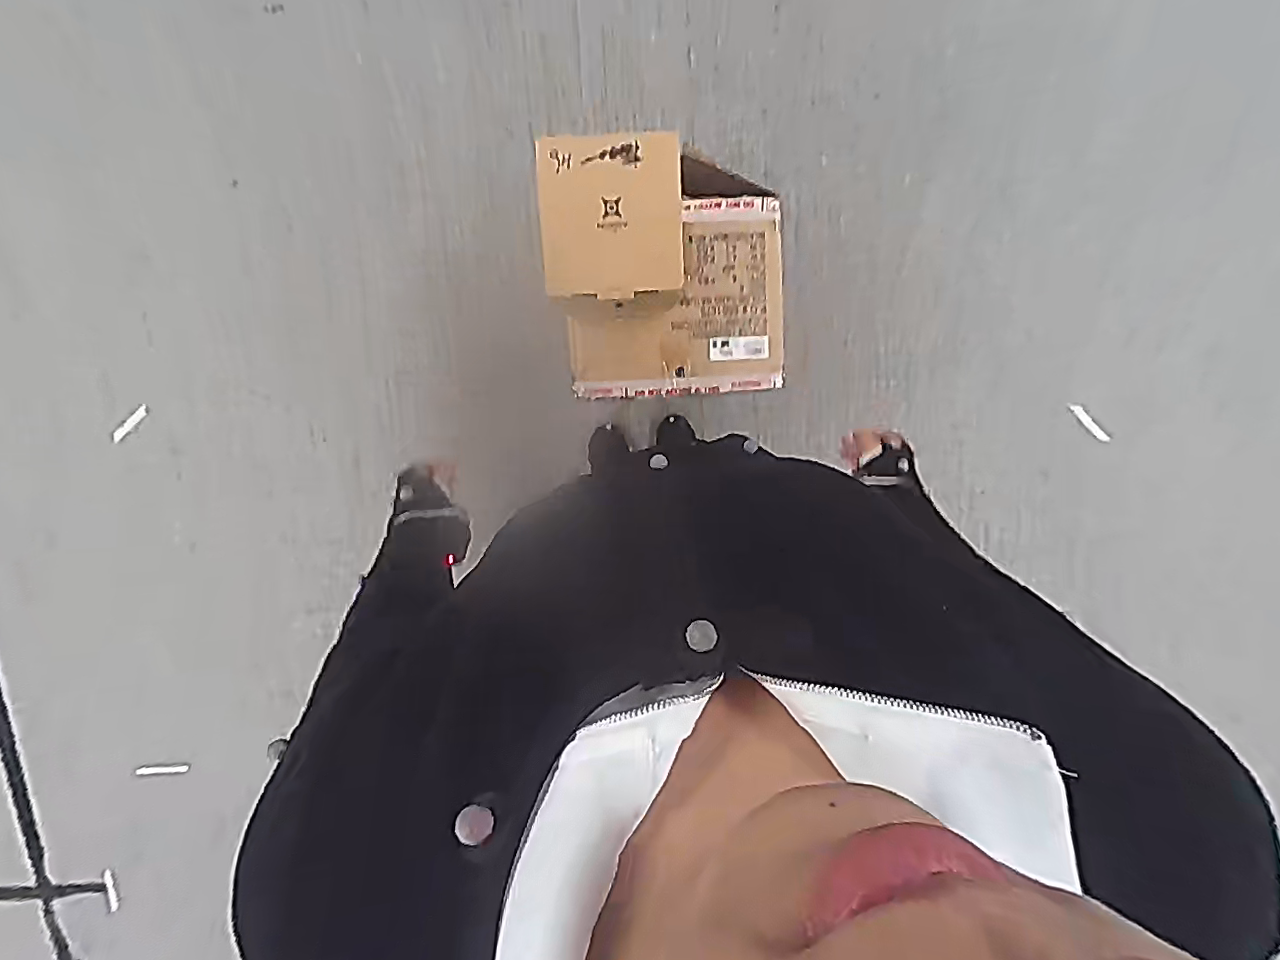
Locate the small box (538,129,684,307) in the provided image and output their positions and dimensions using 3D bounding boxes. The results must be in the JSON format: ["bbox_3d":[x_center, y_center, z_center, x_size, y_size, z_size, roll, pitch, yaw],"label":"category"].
[{"bbox_3d":[-0.030,-0.324,0.705,0.168,0.176,0.179,-3,102,1],"label":"small box"}]

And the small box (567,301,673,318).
[{"bbox_3d":[-0.035,-0.363,0.866,0.168,0.176,0.179,-4,101,2],"label":"small box"}]
